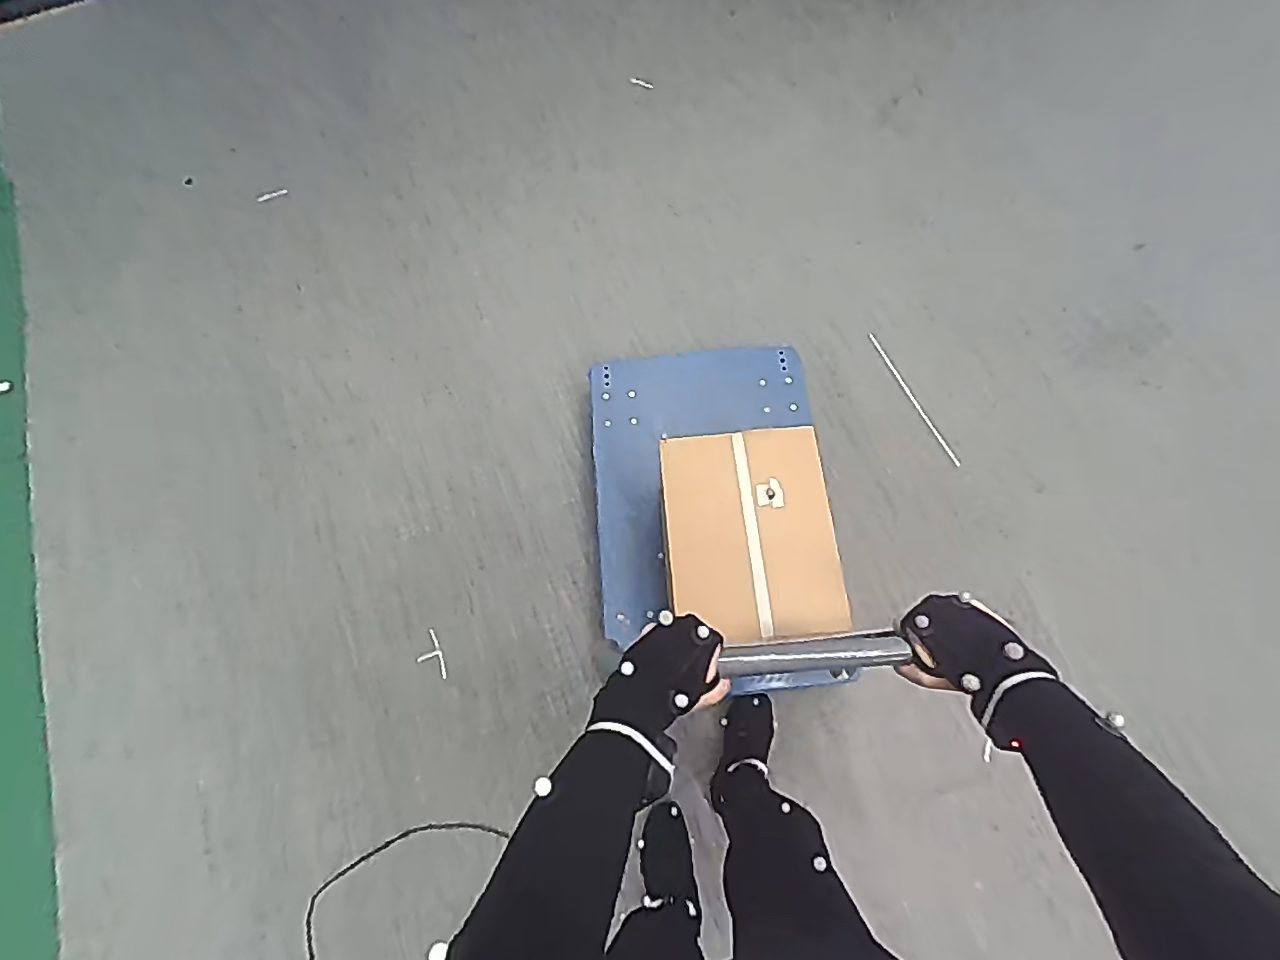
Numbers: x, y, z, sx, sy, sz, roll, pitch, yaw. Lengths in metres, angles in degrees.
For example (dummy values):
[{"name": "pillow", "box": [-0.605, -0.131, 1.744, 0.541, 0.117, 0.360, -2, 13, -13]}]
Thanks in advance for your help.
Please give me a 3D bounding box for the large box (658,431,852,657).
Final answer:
[{"name": "large box", "box": [0.214, 0.152, 1.163, 0.320, 0.320, 0.408, -5, 70, 0]}]
